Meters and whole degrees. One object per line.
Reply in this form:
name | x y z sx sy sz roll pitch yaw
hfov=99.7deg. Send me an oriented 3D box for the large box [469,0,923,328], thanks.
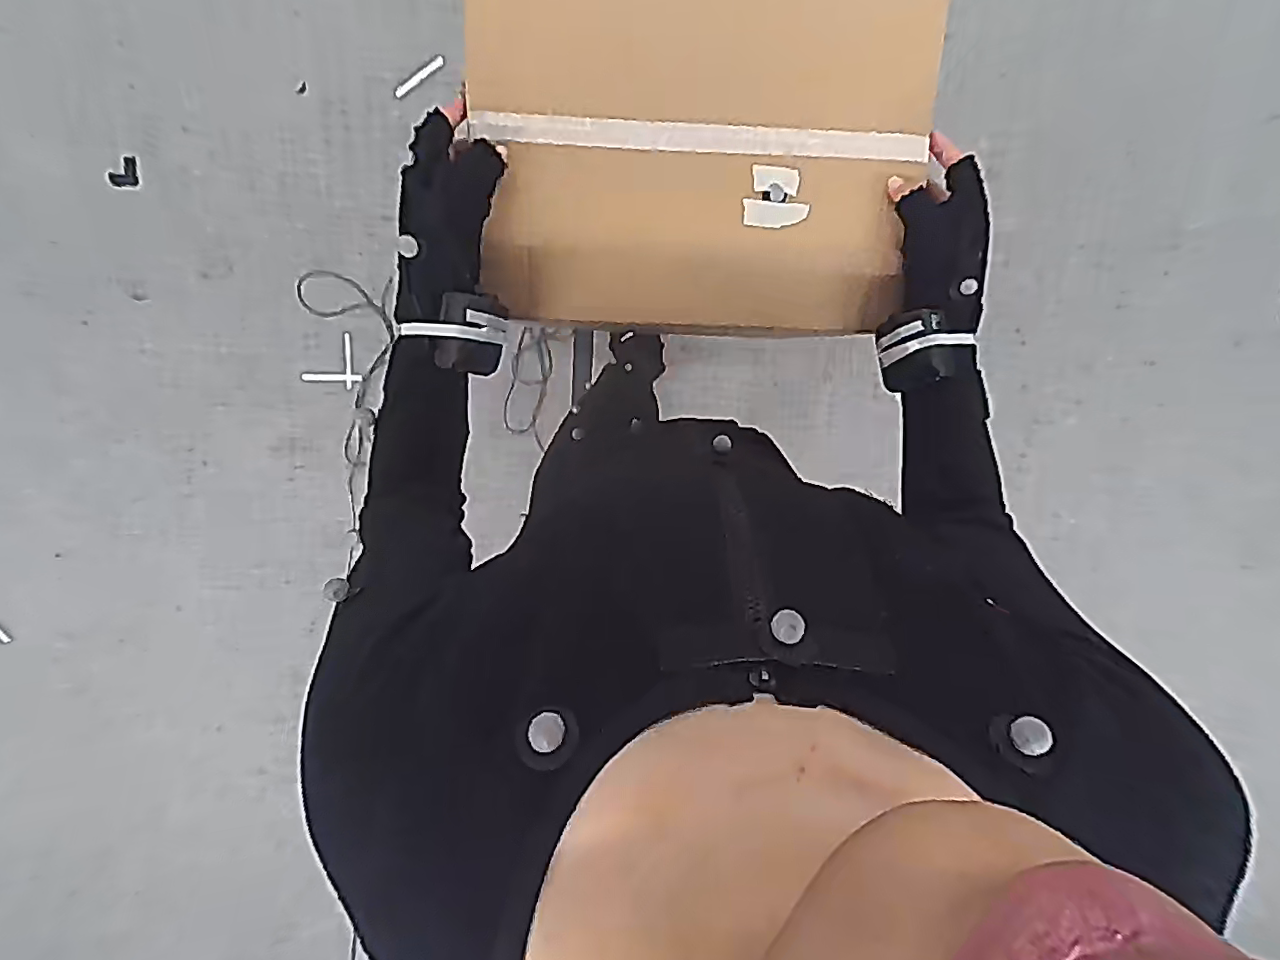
large box | 0.041 -0.347 0.636 0.408 0.320 0.320 0 104 -4
